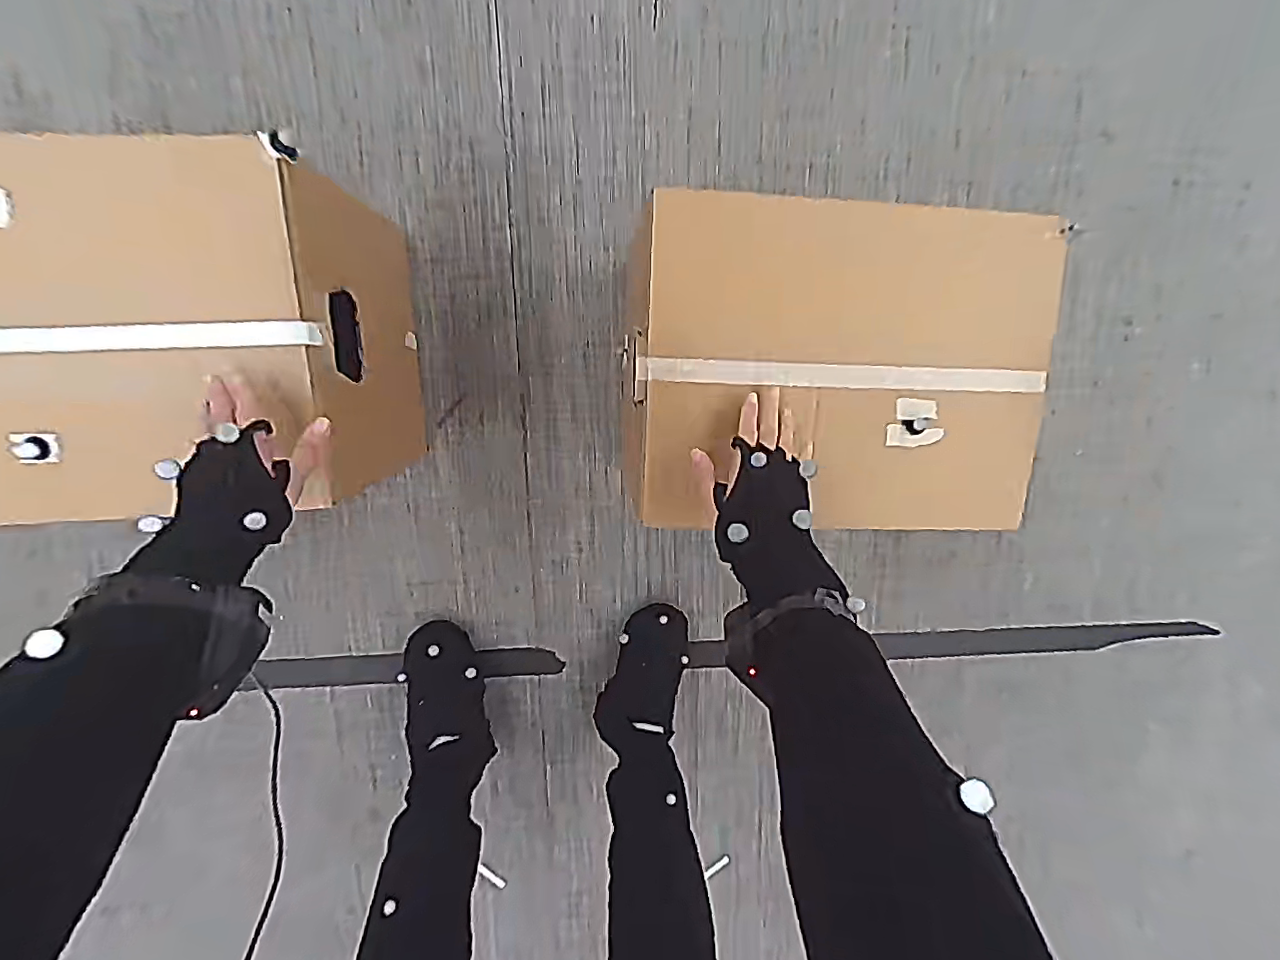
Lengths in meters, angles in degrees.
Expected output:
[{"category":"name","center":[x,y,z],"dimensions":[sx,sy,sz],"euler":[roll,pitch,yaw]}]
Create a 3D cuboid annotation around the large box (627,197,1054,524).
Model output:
[{"category":"large box","center":[0.194,-0.133,0.685],"dimensions":[0.408,0.320,0.320],"euler":[1,101,-7]}]
